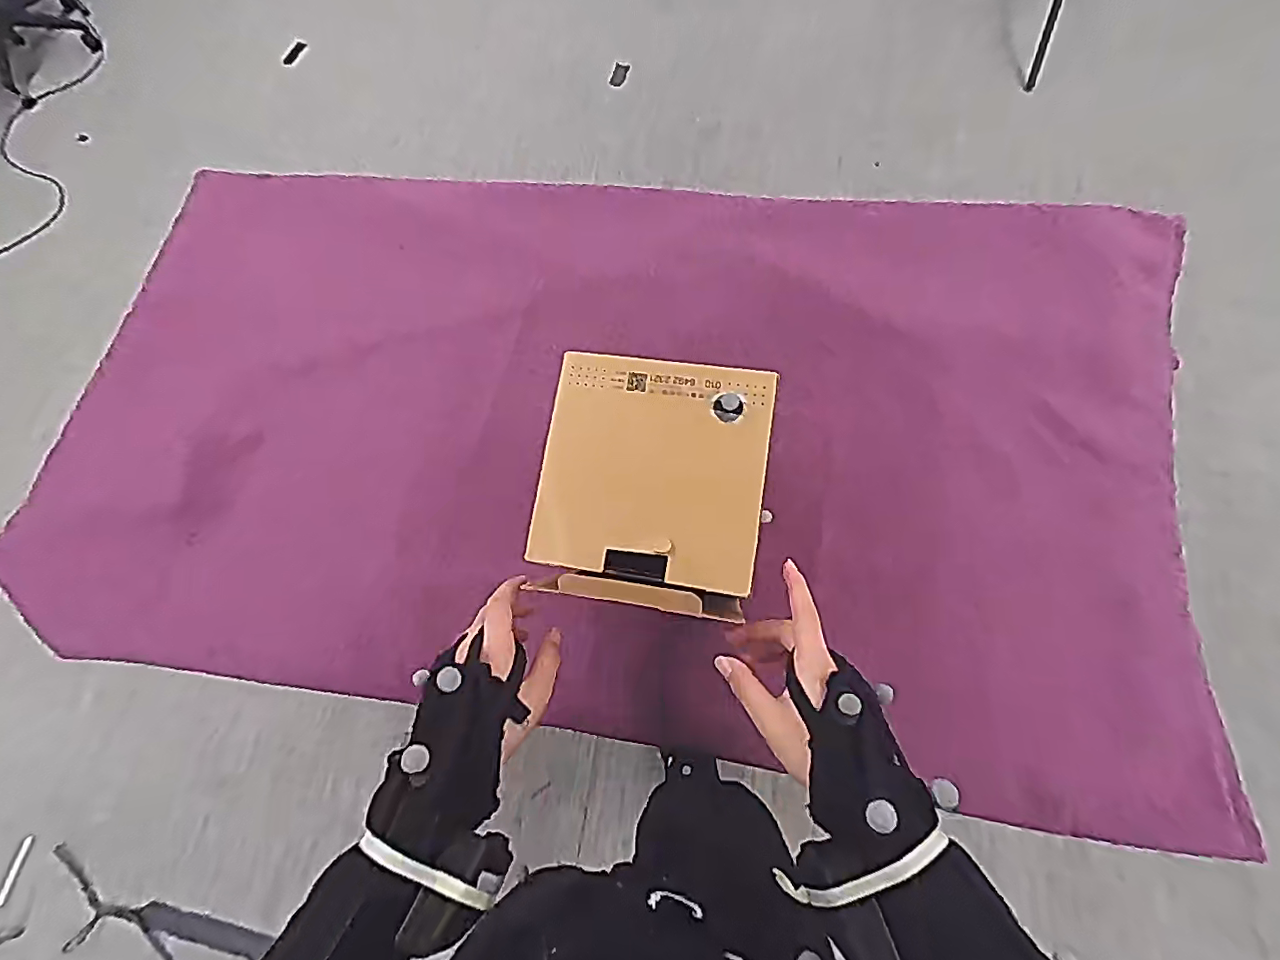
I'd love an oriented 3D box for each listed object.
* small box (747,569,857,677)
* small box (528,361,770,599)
[{"bbox_3d":[0.300,0.274,1.026,0.179,0.176,0.168,6,73,9],"label":"small box"},{"bbox_3d":[0.017,0.007,0.478,0.168,0.179,0.176,8,80,9],"label":"small box"}]
